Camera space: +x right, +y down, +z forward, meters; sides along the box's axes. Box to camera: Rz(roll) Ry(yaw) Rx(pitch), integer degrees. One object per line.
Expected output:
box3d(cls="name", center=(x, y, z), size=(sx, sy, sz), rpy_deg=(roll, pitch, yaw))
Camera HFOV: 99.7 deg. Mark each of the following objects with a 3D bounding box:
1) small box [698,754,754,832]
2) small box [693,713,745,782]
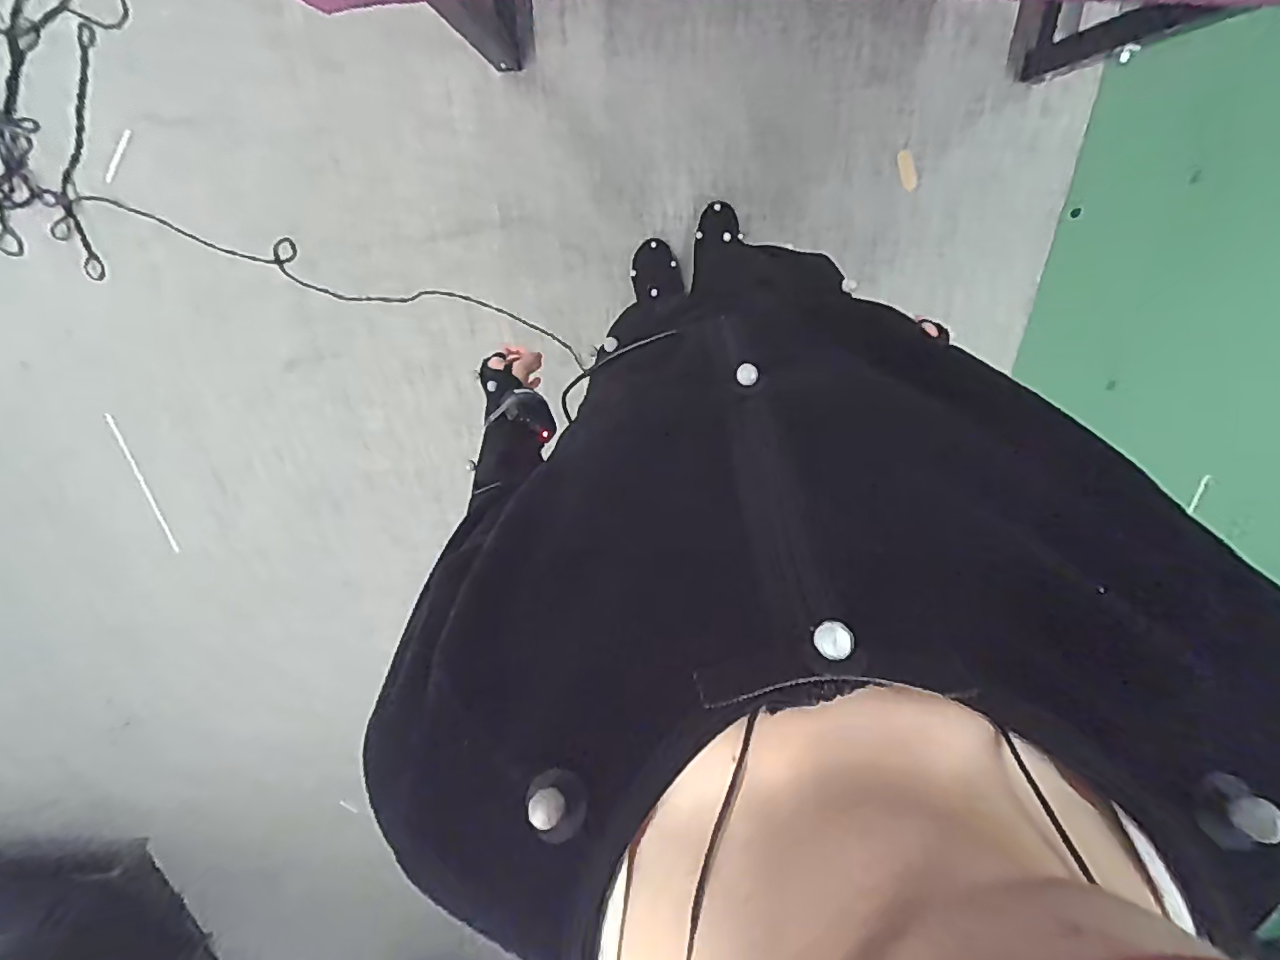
box3d(cls="small box", center=(0.284, 1.052, 1.826), size=(0.168, 0.176, 0.179), rpy_deg=(-2, 117, 2))
box3d(cls="small box", center=(0.283, 0.973, 1.972), size=(0.168, 0.176, 0.179), rpy_deg=(-2, 117, 2))
